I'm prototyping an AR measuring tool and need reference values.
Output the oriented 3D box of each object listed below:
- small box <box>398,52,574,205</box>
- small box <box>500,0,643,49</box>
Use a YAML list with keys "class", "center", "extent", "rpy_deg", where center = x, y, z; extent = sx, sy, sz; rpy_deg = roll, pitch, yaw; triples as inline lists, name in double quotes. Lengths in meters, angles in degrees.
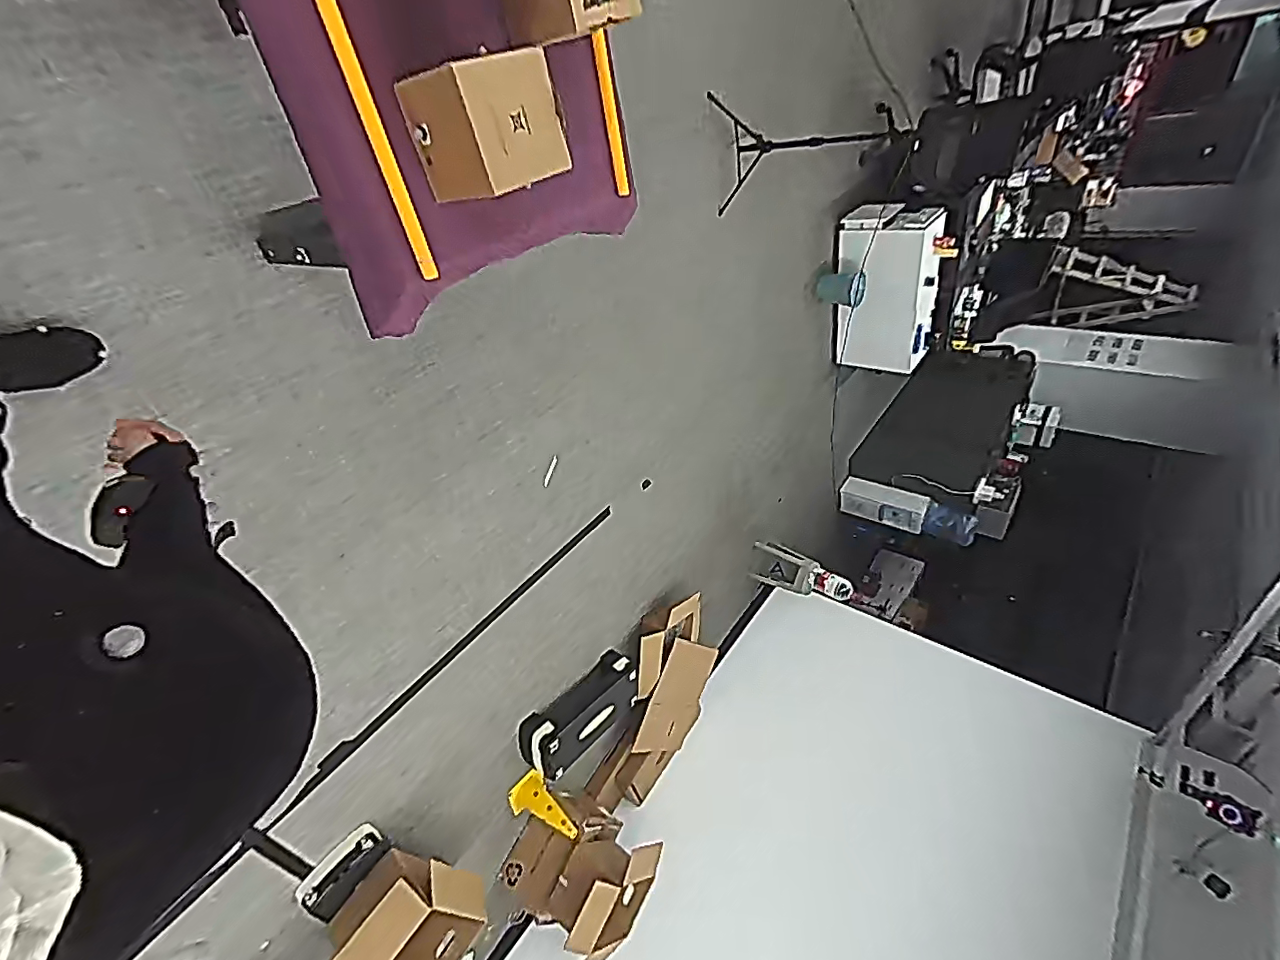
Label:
- class: "small box"
  center: [-0.238, -0.549, 0.853]
  extent: [0.179, 0.176, 0.168]
  rpy_deg: [-44, 135, -34]
- class: "small box"
  center: [-0.124, -0.827, 0.876]
  extent: [0.168, 0.176, 0.179]
  rpy_deg: [-43, 135, -30]
